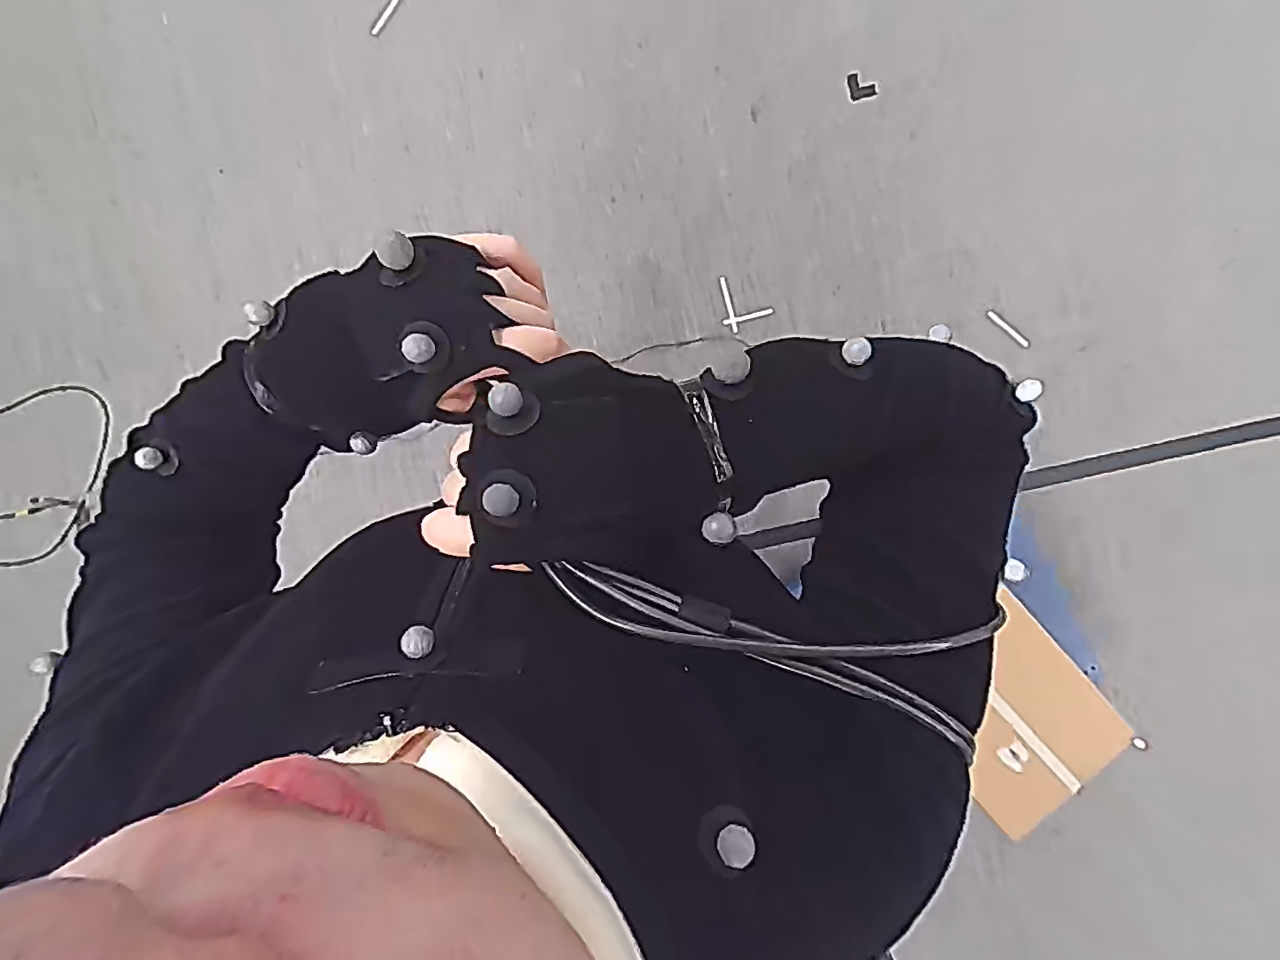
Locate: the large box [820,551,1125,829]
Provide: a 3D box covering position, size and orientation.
[{"bbox_3d":[0.676,0.419,1.172,0.320,0.320,0.408,-42,93,3],"label":"large box"}]
